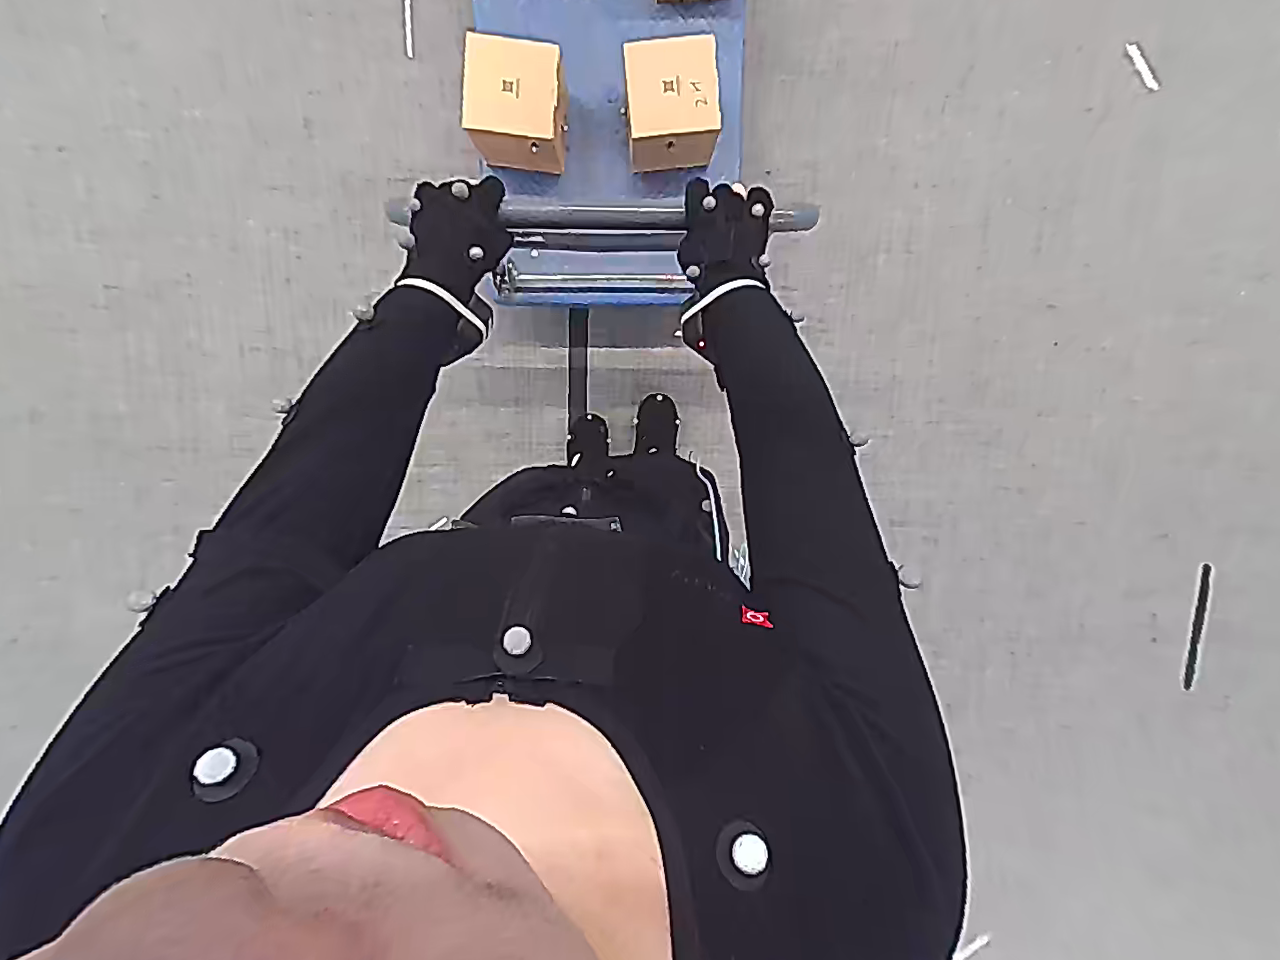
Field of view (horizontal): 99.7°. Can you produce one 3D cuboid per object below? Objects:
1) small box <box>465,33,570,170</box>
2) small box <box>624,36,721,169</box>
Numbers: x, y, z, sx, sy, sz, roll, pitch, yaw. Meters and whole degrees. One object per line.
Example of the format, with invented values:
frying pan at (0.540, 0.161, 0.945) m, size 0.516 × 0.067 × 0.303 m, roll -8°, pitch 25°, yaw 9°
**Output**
small box at (-0.242, -0.754, 1.098) m, size 0.179 × 0.176 × 0.168 m, roll 5°, pitch 99°, yaw -4°
small box at (0.063, -0.757, 1.104) m, size 0.179 × 0.176 × 0.168 m, roll -5°, pitch 100°, yaw 0°
